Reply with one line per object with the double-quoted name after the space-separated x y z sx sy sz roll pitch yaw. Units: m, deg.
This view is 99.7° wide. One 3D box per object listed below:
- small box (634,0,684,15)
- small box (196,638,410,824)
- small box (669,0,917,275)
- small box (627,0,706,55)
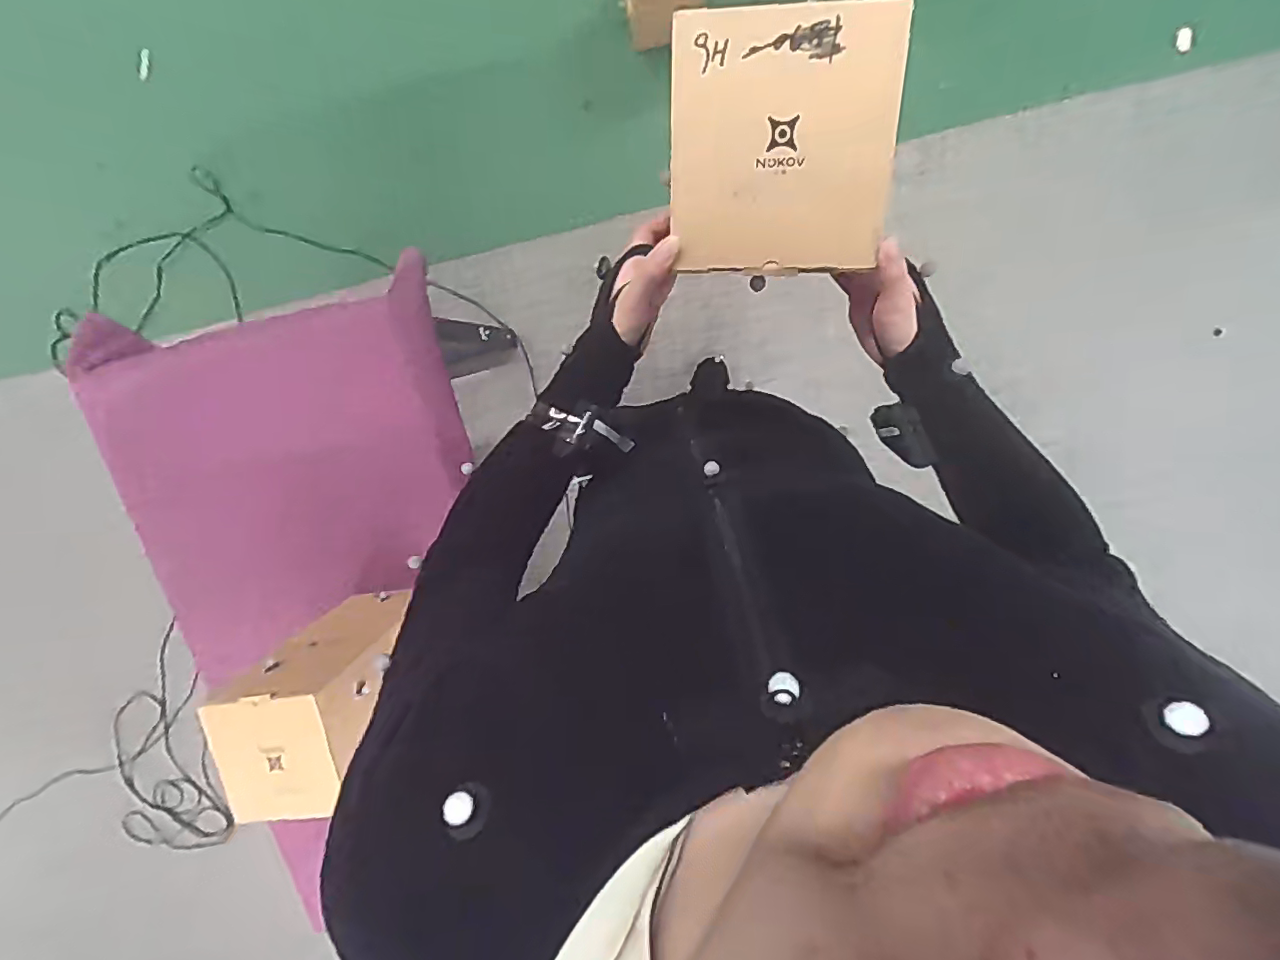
0.050 -1.146 1.142 0.179 0.176 0.168 -14 101 9 "small box"
-0.451 0.334 0.752 0.168 0.176 0.179 -8 101 7 "small box"
0.116 -0.279 0.478 0.168 0.176 0.179 3 112 6 "small box"
0.057 -1.175 1.301 0.179 0.176 0.168 -11 101 7 "small box"
